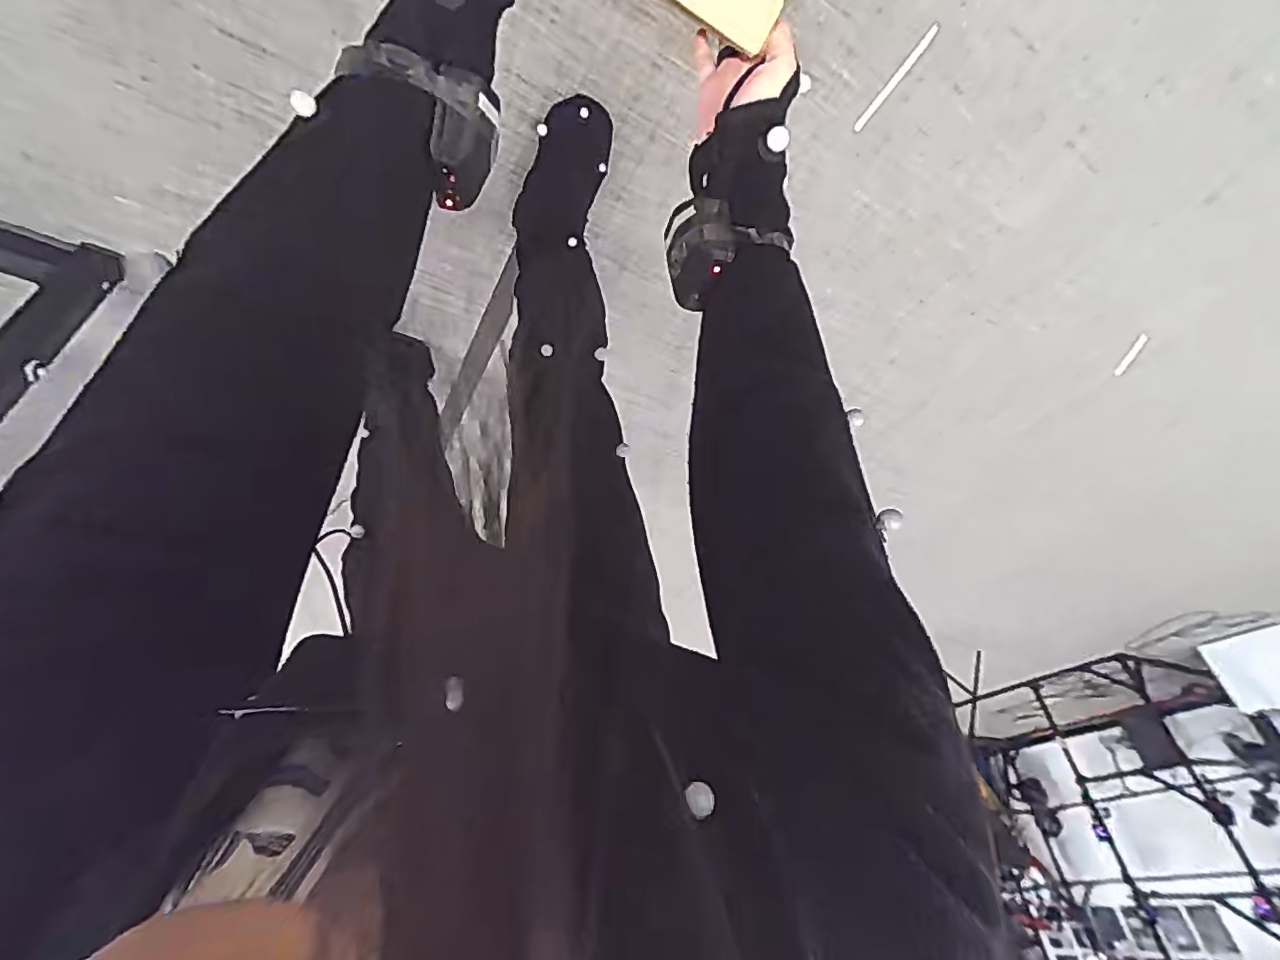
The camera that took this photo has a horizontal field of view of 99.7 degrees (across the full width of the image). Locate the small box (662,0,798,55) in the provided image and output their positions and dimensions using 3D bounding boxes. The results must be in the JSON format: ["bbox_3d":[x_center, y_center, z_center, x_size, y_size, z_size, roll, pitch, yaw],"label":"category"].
[{"bbox_3d":[0.031,-0.404,0.323,0.179,0.176,0.168,14,131,-27],"label":"small box"}]
